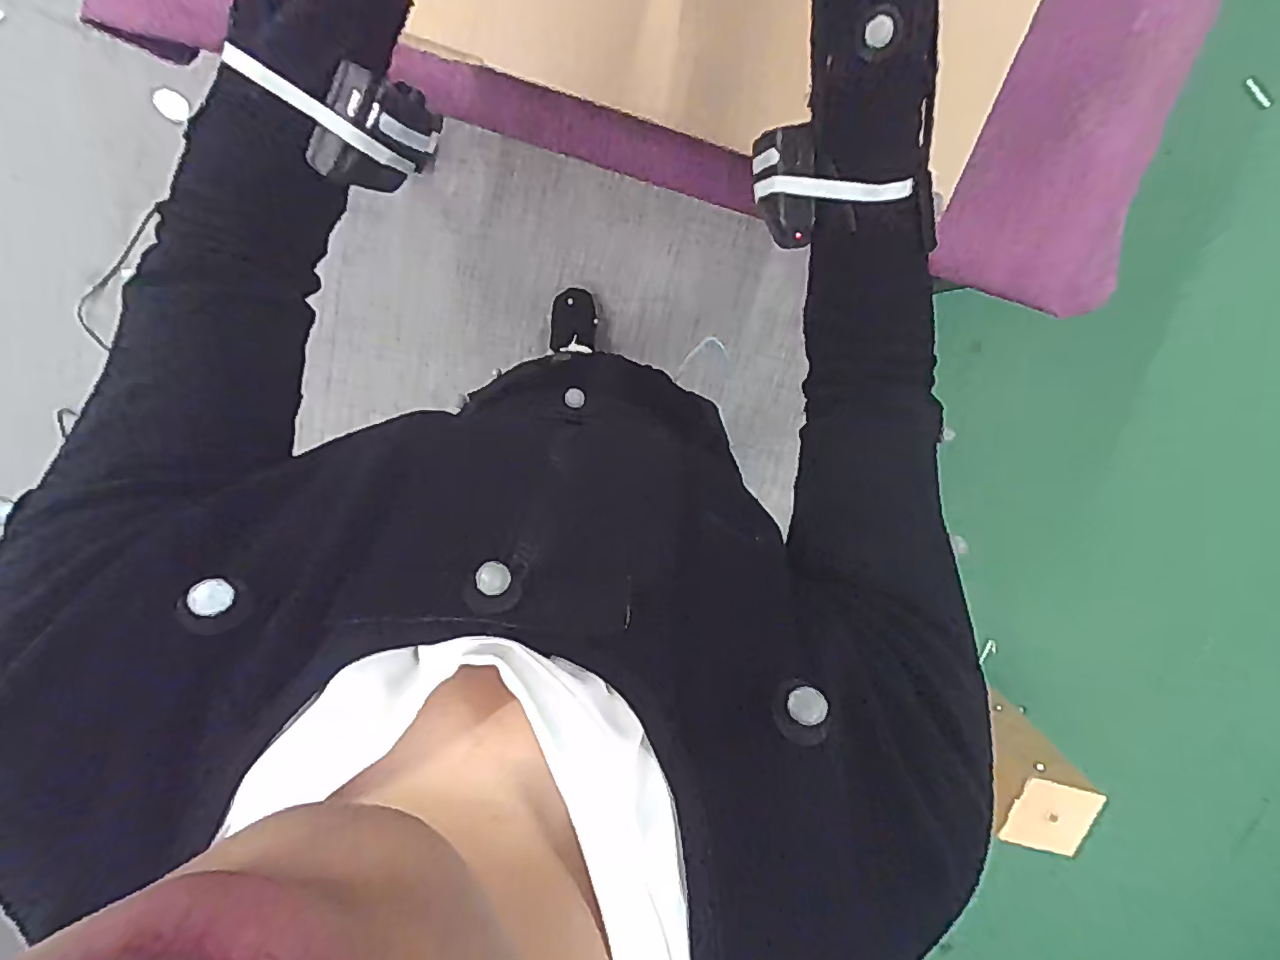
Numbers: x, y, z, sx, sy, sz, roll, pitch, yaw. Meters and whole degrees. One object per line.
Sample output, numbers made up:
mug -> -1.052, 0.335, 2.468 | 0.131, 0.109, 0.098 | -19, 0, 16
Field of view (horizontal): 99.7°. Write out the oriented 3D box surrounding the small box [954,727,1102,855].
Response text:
small box -> 0.858, 0.689, 1.215 | 0.179, 0.176, 0.168 | 15, 104, -3
